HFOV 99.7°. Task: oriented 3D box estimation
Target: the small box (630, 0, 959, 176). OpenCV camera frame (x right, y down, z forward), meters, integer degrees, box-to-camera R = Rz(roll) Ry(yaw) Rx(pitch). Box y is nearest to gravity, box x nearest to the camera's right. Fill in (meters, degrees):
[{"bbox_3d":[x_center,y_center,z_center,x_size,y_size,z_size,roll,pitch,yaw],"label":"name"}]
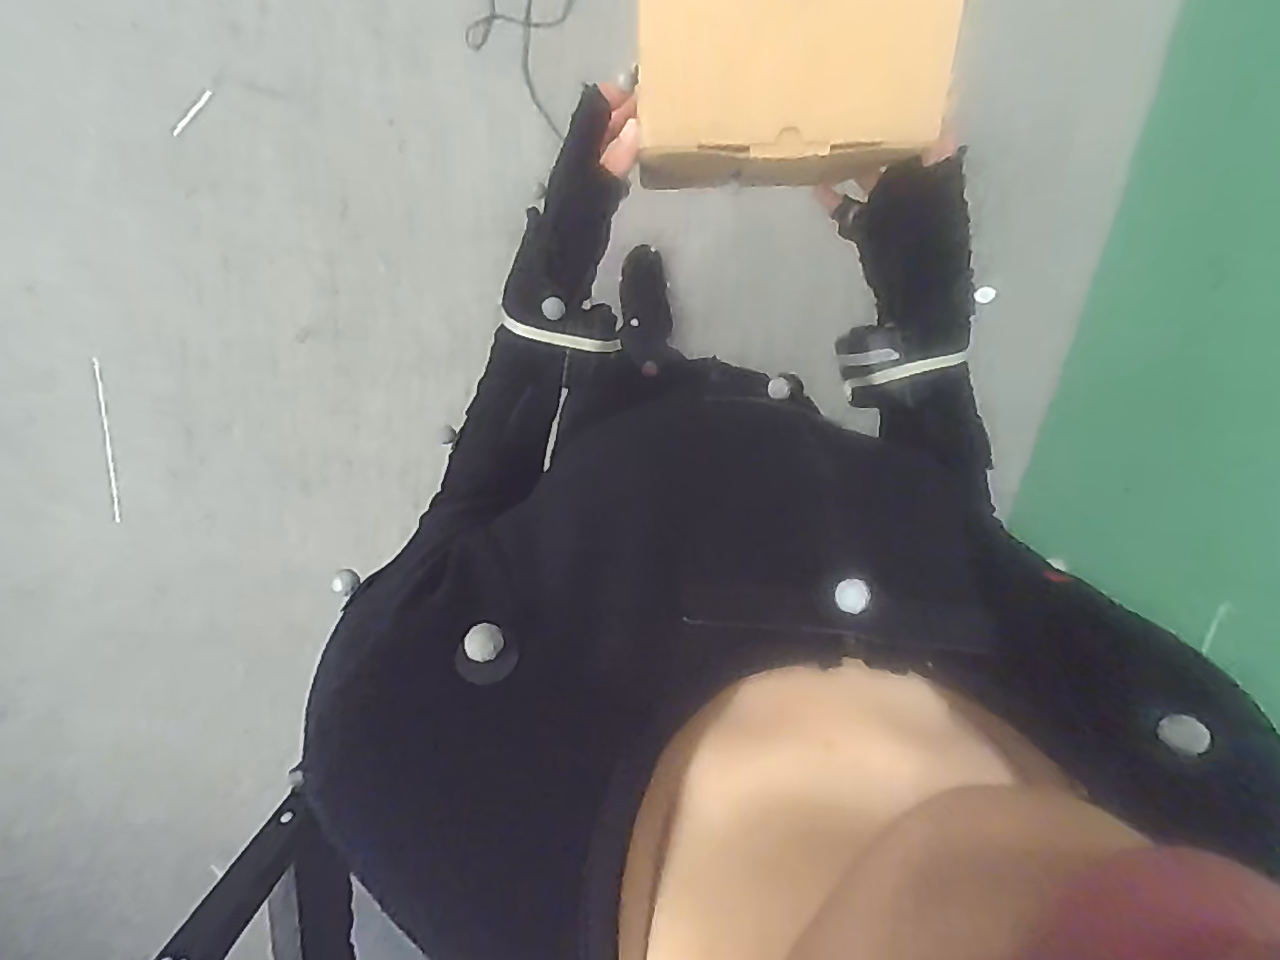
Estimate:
[{"bbox_3d":[0.077,-0.299,0.332,0.168,0.176,0.179,-1,113,1],"label":"small box"}]
